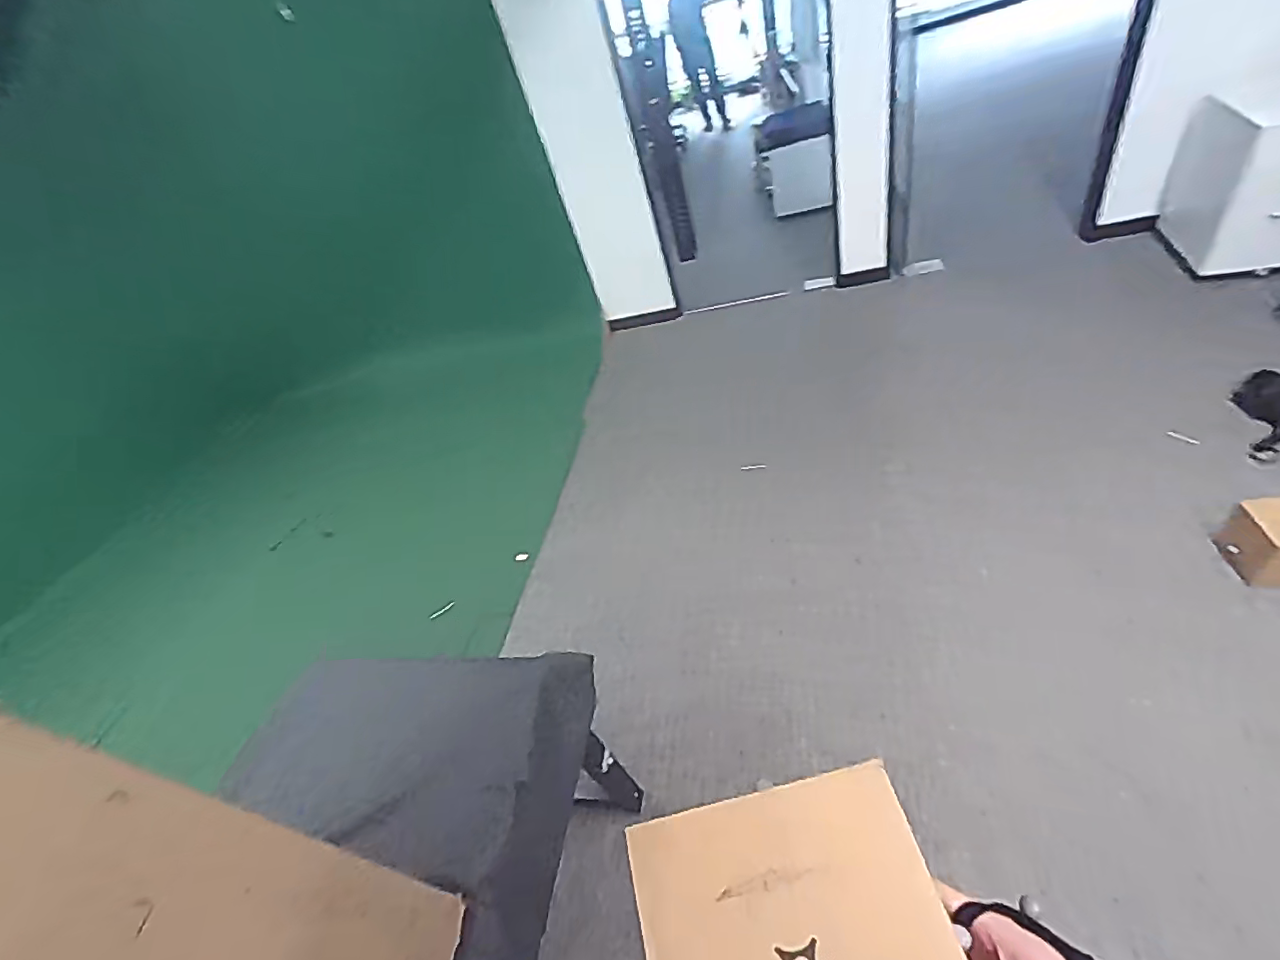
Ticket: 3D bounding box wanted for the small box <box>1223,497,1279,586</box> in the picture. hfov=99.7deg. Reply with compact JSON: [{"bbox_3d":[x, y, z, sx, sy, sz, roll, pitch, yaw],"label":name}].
[{"bbox_3d":[1.685,0.159,1.393,0.179,0.176,0.168,-7,42,19],"label":"small box"}]
